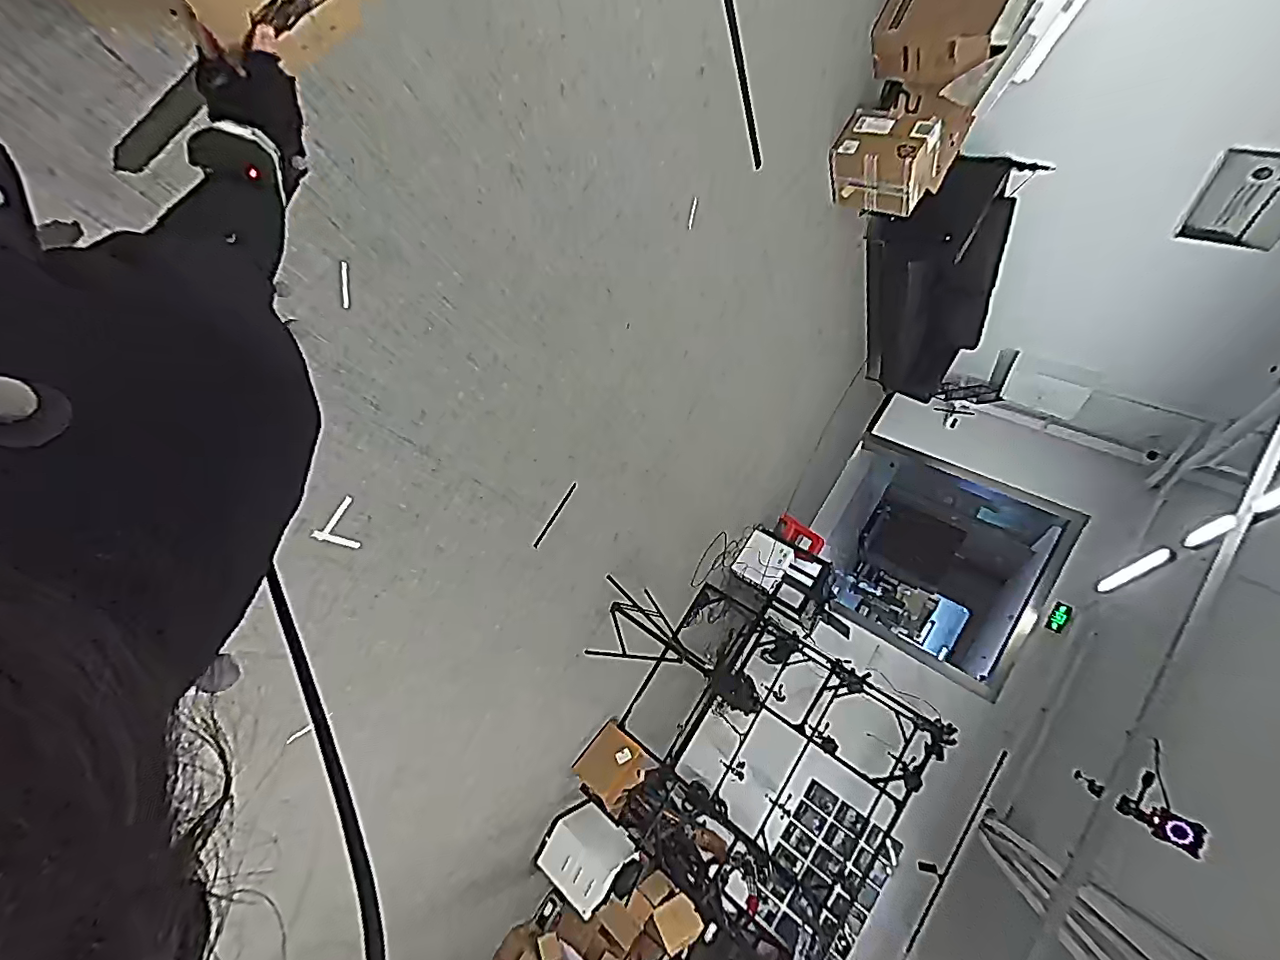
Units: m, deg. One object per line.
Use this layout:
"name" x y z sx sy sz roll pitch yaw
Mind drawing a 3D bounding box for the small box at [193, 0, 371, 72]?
"small box" -0.365 -0.523 0.461 0.168 0.176 0.179 -39 -179 -5
